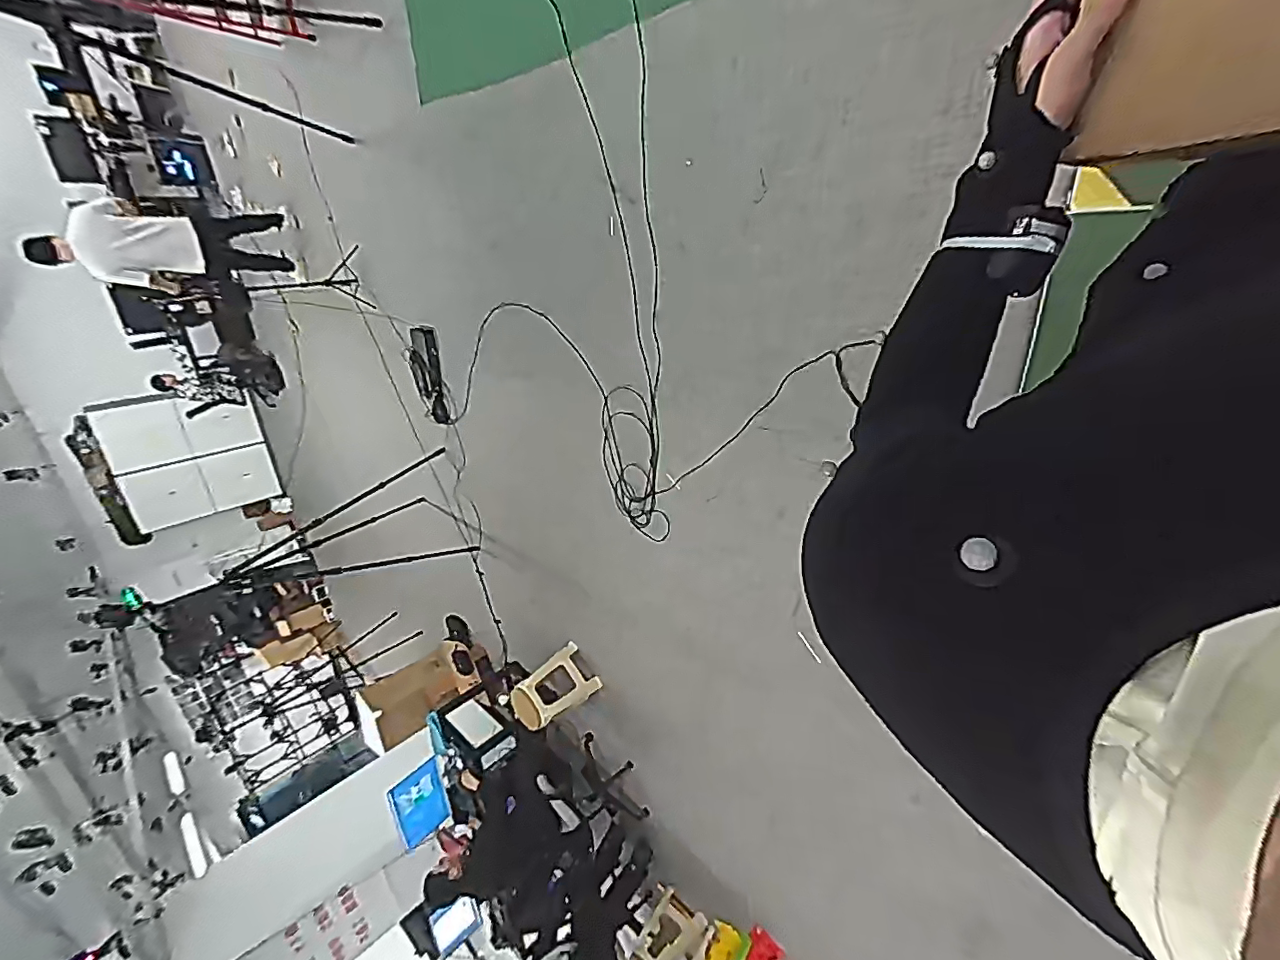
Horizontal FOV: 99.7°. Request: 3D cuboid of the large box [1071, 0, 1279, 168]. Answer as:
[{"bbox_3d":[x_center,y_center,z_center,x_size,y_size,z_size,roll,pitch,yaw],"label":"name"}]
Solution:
[{"bbox_3d":[0.582,-0.427,0.359,0.408,0.320,0.320,14,120,42],"label":"large box"}]
